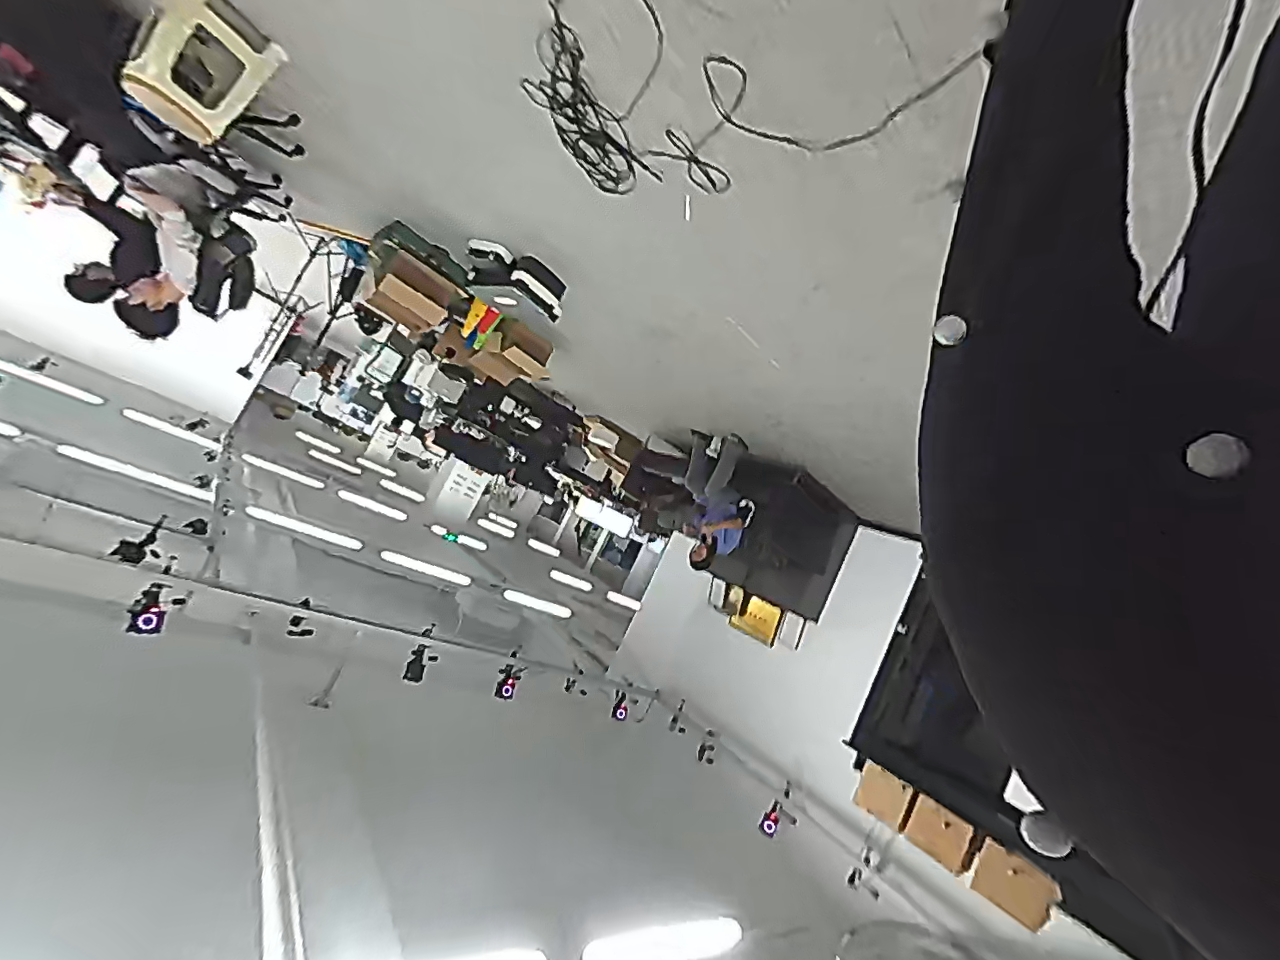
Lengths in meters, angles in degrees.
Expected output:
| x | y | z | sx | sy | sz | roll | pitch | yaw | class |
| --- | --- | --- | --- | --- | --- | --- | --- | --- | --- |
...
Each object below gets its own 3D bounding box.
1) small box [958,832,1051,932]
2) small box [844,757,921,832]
| x | y | z | sx | sy | sz | roll | pitch | yaw | class |
| --- | --- | --- | --- | --- | --- | --- | --- | --- | --- |
| 1.076 | 1.168 | 1.589 | 0.179 | 0.176 | 0.168 | 31 | 172 | -40 | small box |
| 0.847 | 1.090 | 1.884 | 0.179 | 0.176 | 0.168 | 30 | 172 | -41 | small box |
